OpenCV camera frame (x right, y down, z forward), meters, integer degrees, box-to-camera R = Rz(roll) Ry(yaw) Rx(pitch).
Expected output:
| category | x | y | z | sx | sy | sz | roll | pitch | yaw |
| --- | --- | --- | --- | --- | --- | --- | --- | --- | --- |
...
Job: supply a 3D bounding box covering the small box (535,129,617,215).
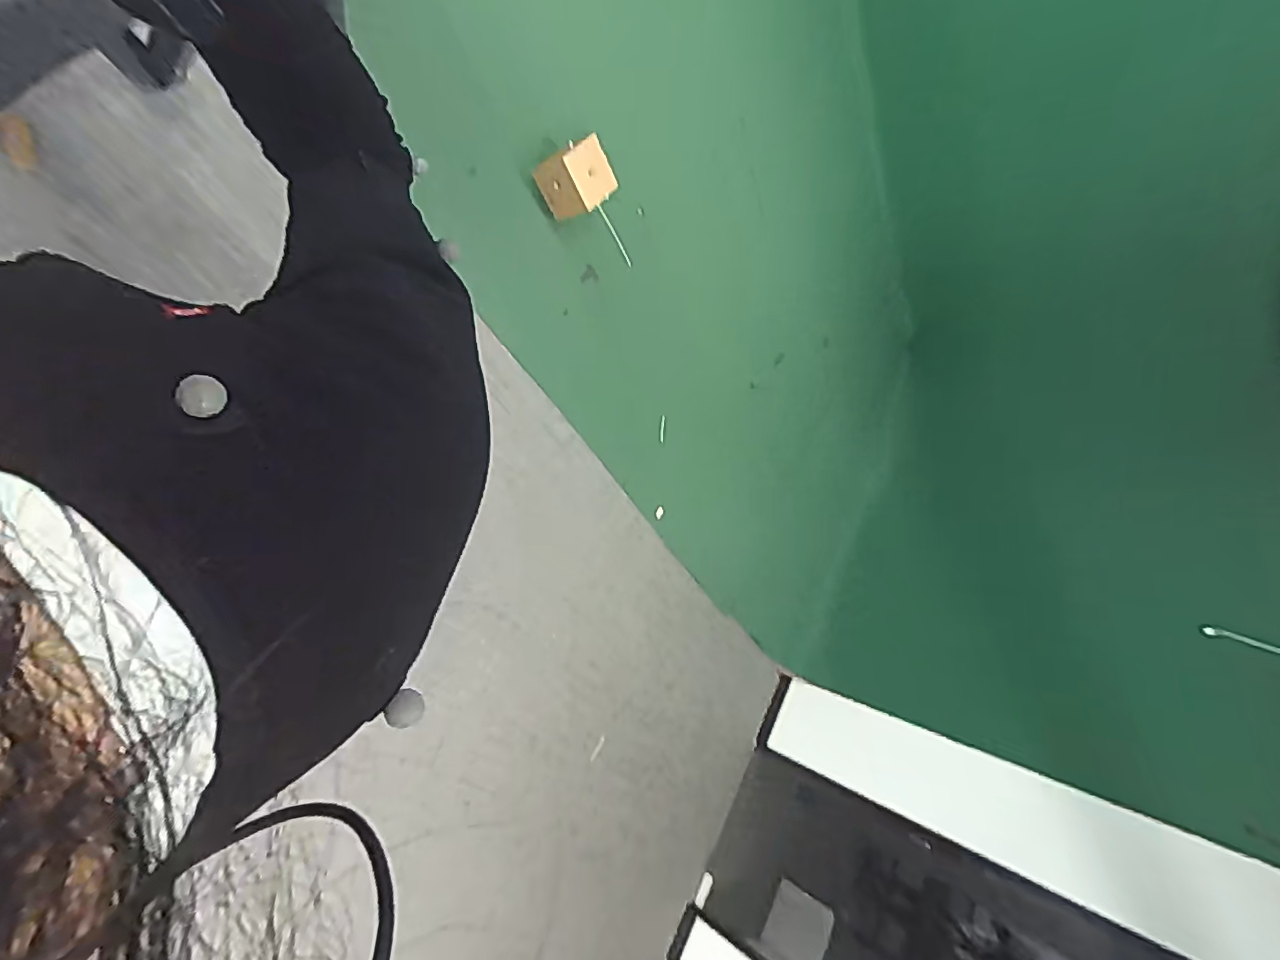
| category | x | y | z | sx | sy | sz | roll | pitch | yaw |
| --- | --- | --- | --- | --- | --- | --- | --- | --- | --- |
| small box | -0.213 | -0.985 | 1.740 | 0.179 | 0.176 | 0.168 | -54 | 132 | -27 |
